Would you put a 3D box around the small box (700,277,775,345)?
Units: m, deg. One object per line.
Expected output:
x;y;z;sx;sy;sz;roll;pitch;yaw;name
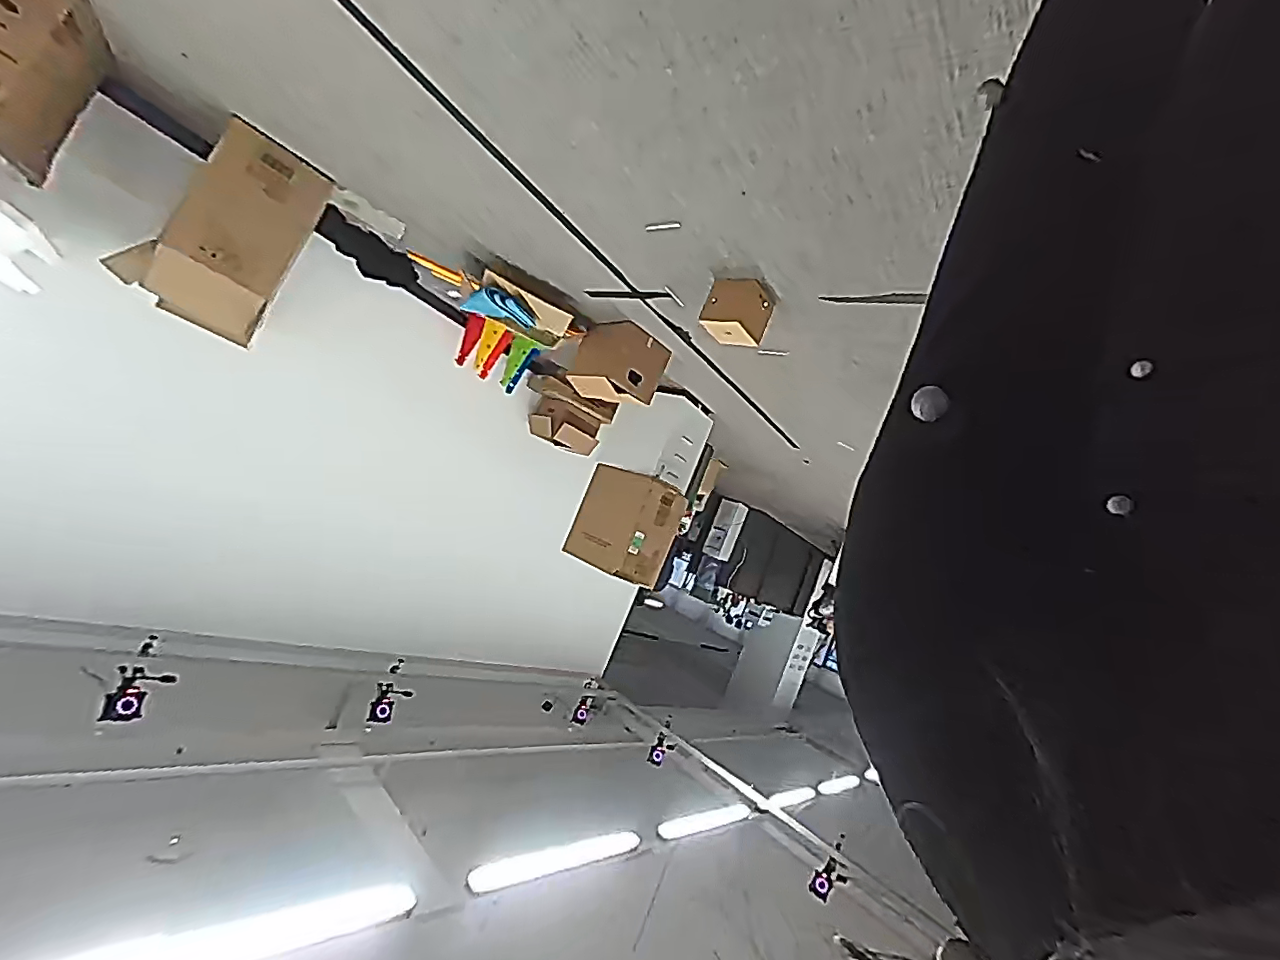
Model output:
0.349;-0.600;1.917;0.179;0.176;0.168;16;172;42;small box
